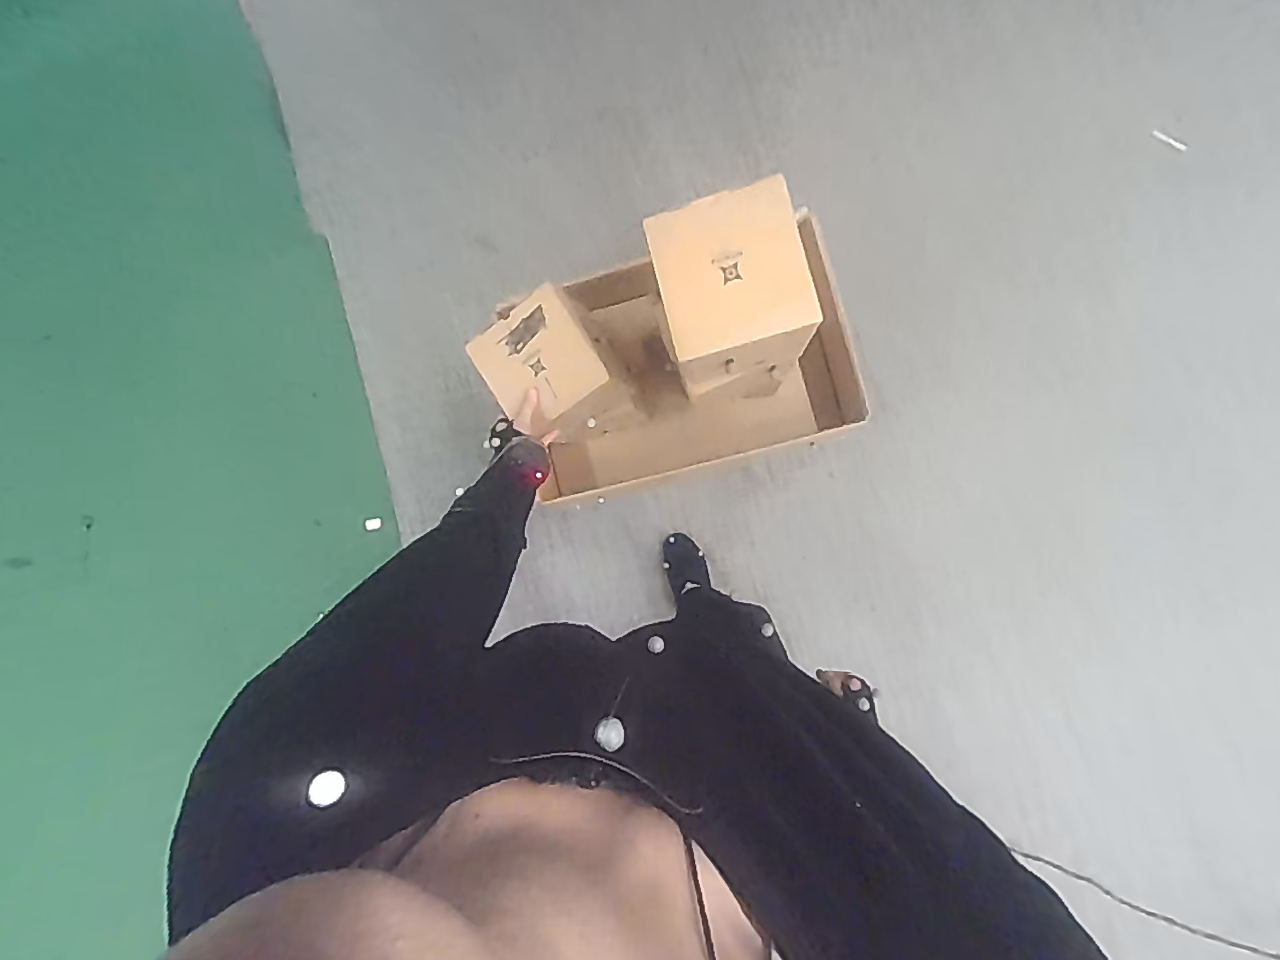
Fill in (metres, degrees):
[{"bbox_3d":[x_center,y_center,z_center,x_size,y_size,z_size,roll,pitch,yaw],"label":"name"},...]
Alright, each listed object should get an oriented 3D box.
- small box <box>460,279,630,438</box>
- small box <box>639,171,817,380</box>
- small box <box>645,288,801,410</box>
[{"bbox_3d":[-0.141,-0.178,0.858,0.168,0.176,0.179,-34,86,14],"label":"small box"},{"bbox_3d":[0.109,-0.234,0.677,0.168,0.176,0.179,-15,86,8],"label":"small box"},{"bbox_3d":[0.125,-0.223,0.838,0.179,0.176,0.168,-23,85,8],"label":"small box"}]
